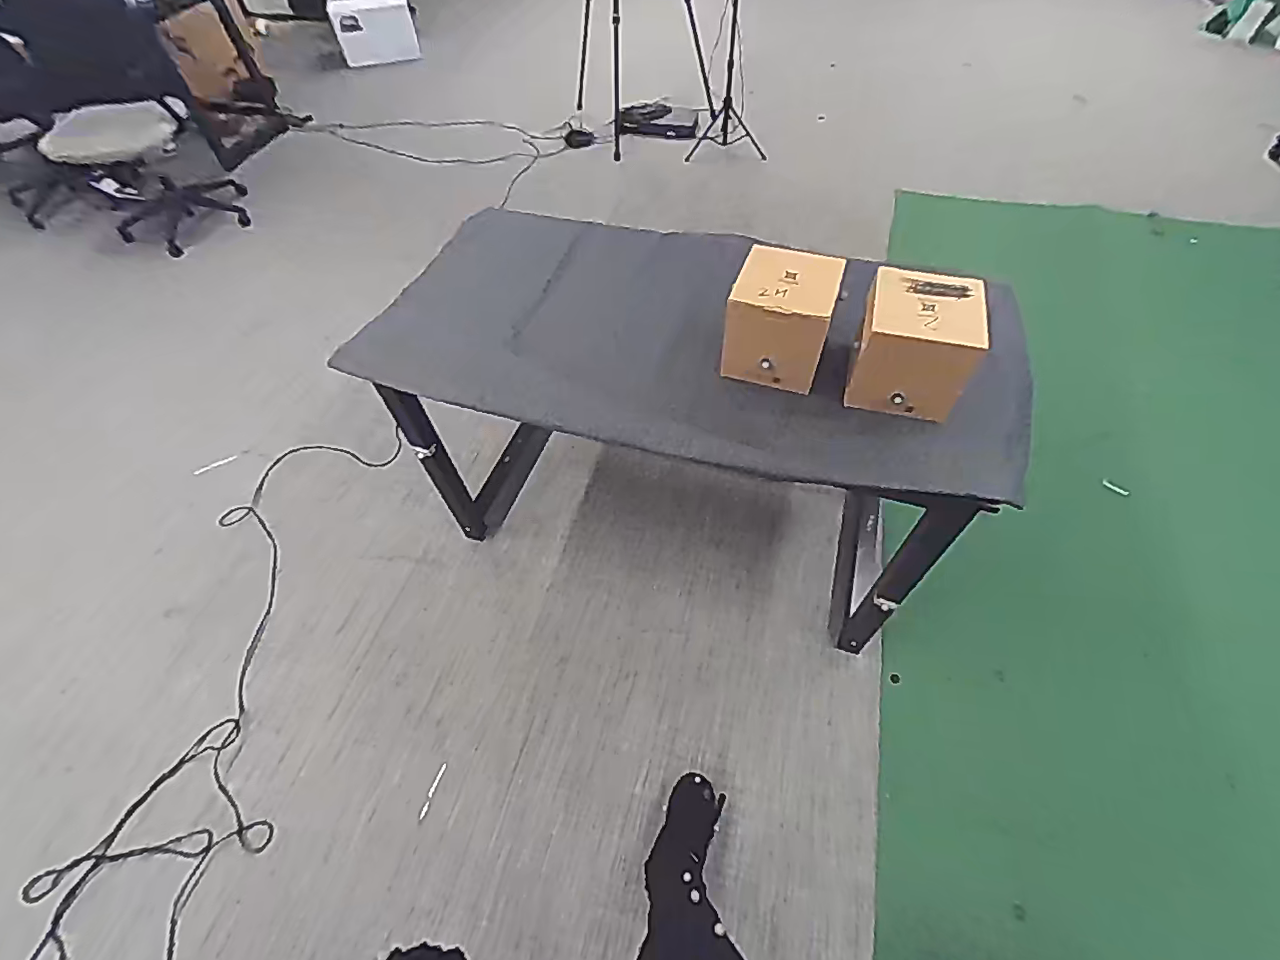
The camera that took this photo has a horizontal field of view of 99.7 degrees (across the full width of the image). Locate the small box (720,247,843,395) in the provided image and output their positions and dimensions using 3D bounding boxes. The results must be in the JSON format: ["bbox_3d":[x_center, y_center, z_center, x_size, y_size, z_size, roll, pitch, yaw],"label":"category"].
[{"bbox_3d":[0.247,-0.284,0.971,0.168,0.176,0.179,16,56,14],"label":"small box"}]
